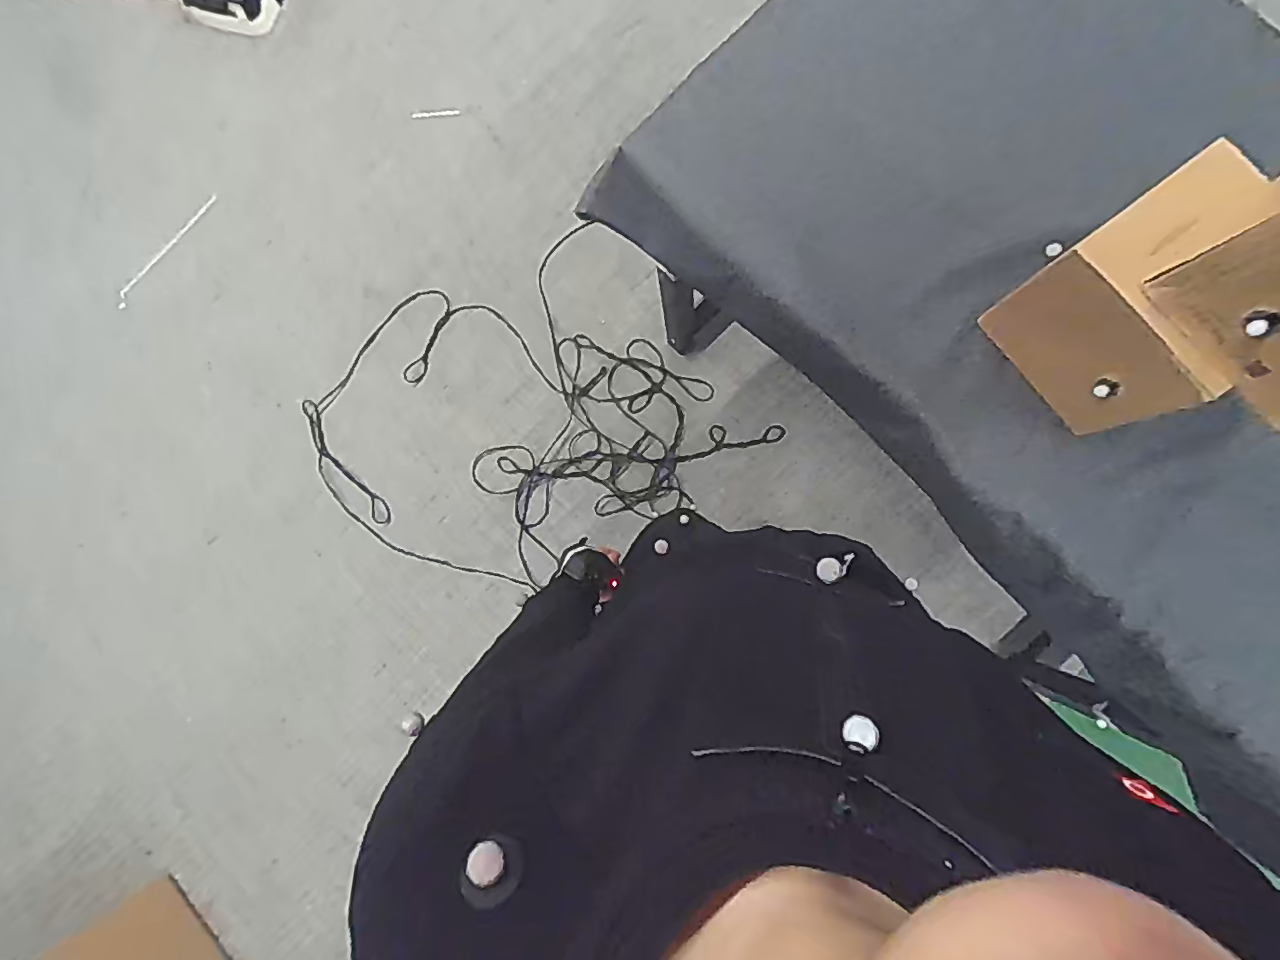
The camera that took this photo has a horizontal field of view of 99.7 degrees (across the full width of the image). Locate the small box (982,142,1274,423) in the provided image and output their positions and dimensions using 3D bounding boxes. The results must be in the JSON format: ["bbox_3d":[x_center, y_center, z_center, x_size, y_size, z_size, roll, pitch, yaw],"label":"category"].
[{"bbox_3d":[0.501,-0.173,0.542,0.168,0.176,0.179,-37,81,0],"label":"small box"}]

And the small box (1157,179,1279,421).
[{"bbox_3d":[0.541,-0.163,0.373,0.179,0.176,0.168,-38,83,1],"label":"small box"}]

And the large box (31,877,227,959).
[{"bbox_3d":[-1.230,1.267,1.248,0.320,0.320,0.408,-45,81,0],"label":"large box"}]
